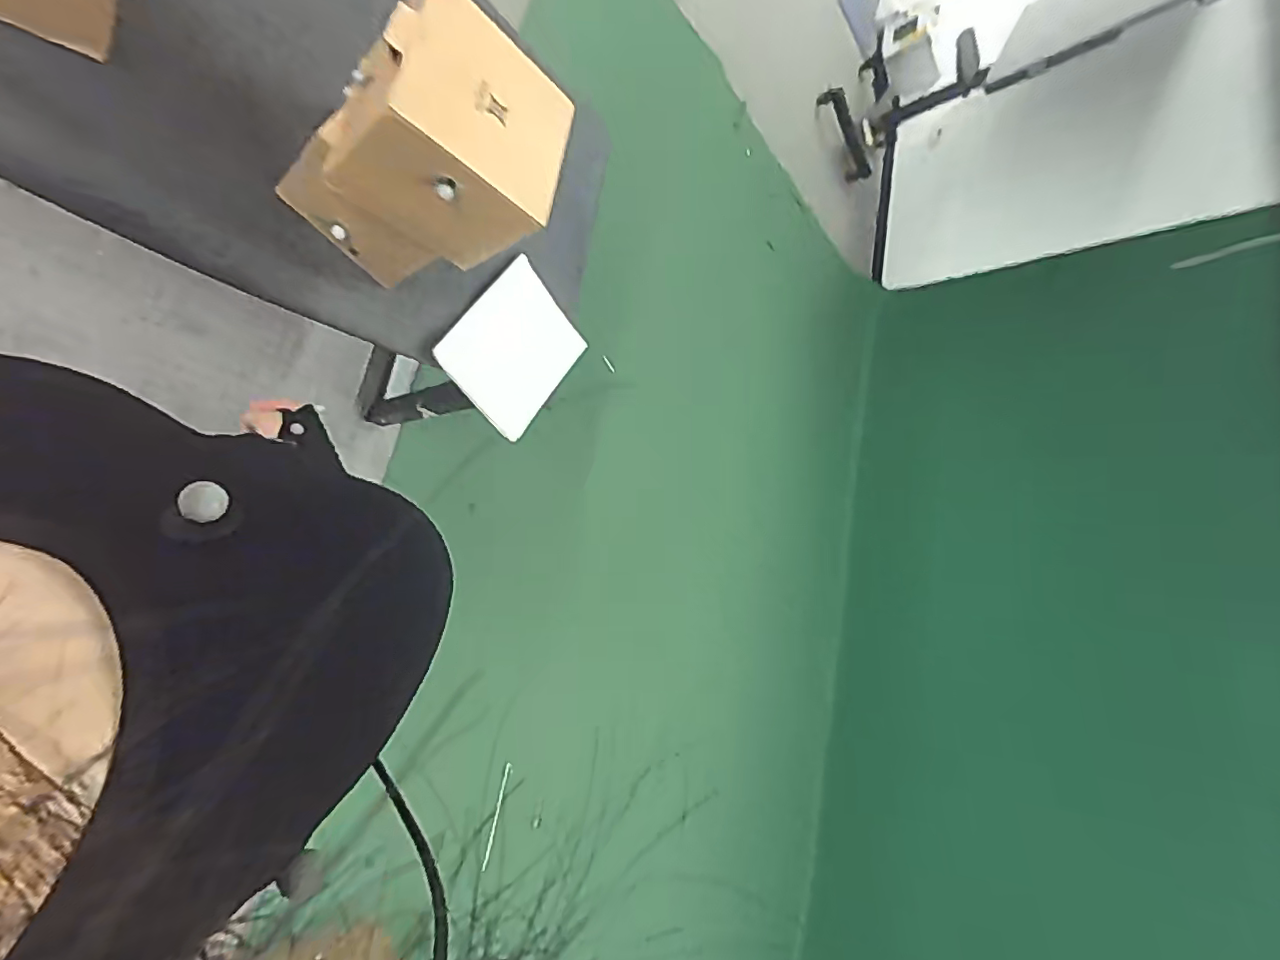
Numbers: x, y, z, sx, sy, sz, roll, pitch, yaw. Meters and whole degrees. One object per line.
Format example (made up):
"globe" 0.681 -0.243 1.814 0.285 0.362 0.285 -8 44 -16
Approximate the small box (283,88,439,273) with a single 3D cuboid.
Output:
"small box" -0.323 -0.406 0.705 0.168 0.176 0.179 42 60 -37

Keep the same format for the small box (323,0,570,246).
"small box" -0.208 -0.383 0.590 0.179 0.176 0.168 22 73 -44

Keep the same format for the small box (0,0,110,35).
"small box" -0.565 -0.536 0.453 0.179 0.176 0.168 0 90 -47
